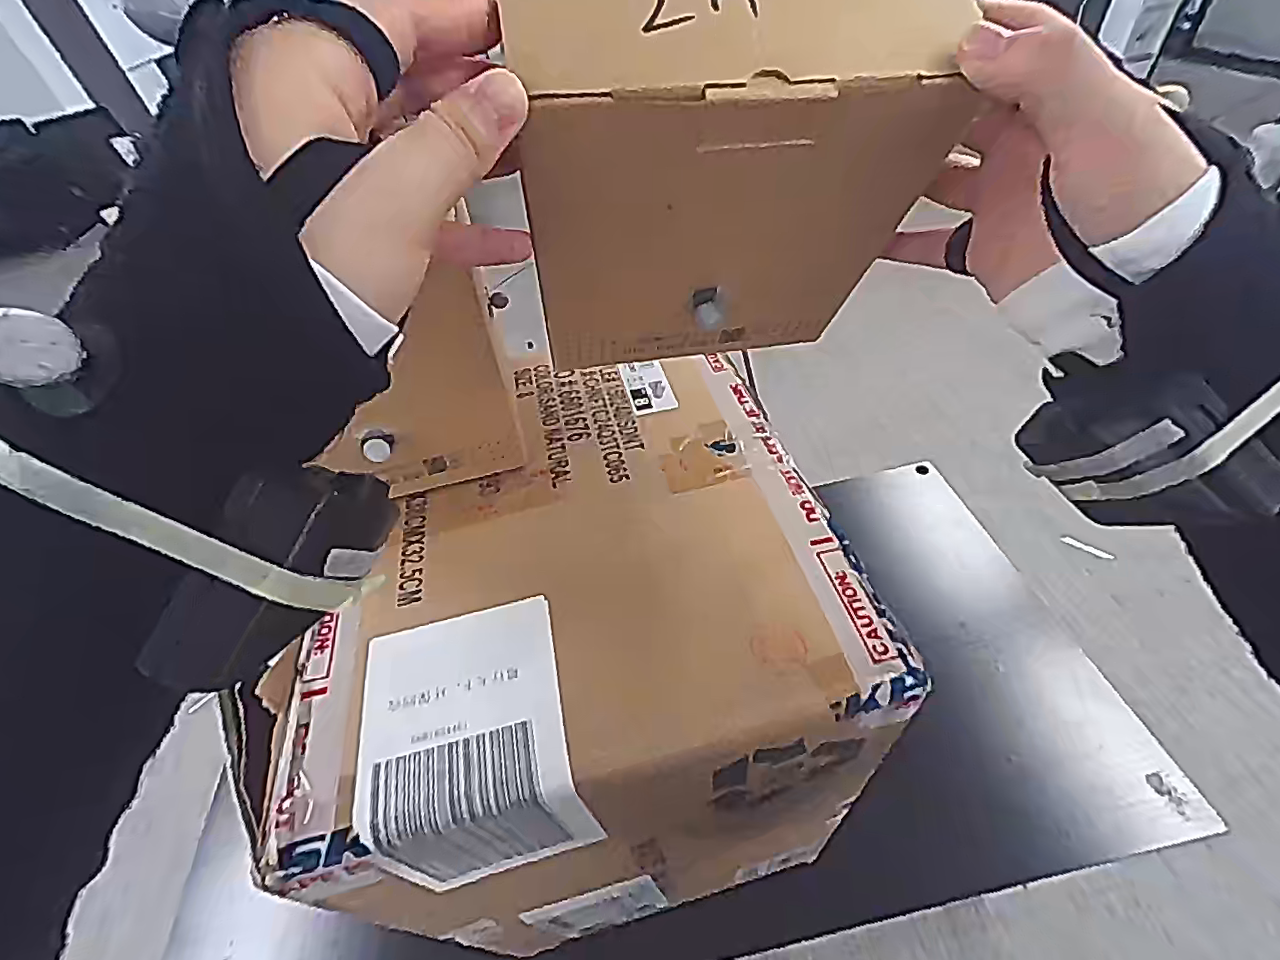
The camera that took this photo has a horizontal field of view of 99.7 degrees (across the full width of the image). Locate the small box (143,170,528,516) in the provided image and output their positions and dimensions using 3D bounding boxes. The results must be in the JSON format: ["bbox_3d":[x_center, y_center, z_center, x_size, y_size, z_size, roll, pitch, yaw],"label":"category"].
[{"bbox_3d":[-0.186,-0.102,0.393,0.168,0.176,0.179,-14,45,-8],"label":"small box"}]

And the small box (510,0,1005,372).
[{"bbox_3d":[0.026,-0.178,0.275,0.168,0.176,0.179,-8,73,-6],"label":"small box"}]
